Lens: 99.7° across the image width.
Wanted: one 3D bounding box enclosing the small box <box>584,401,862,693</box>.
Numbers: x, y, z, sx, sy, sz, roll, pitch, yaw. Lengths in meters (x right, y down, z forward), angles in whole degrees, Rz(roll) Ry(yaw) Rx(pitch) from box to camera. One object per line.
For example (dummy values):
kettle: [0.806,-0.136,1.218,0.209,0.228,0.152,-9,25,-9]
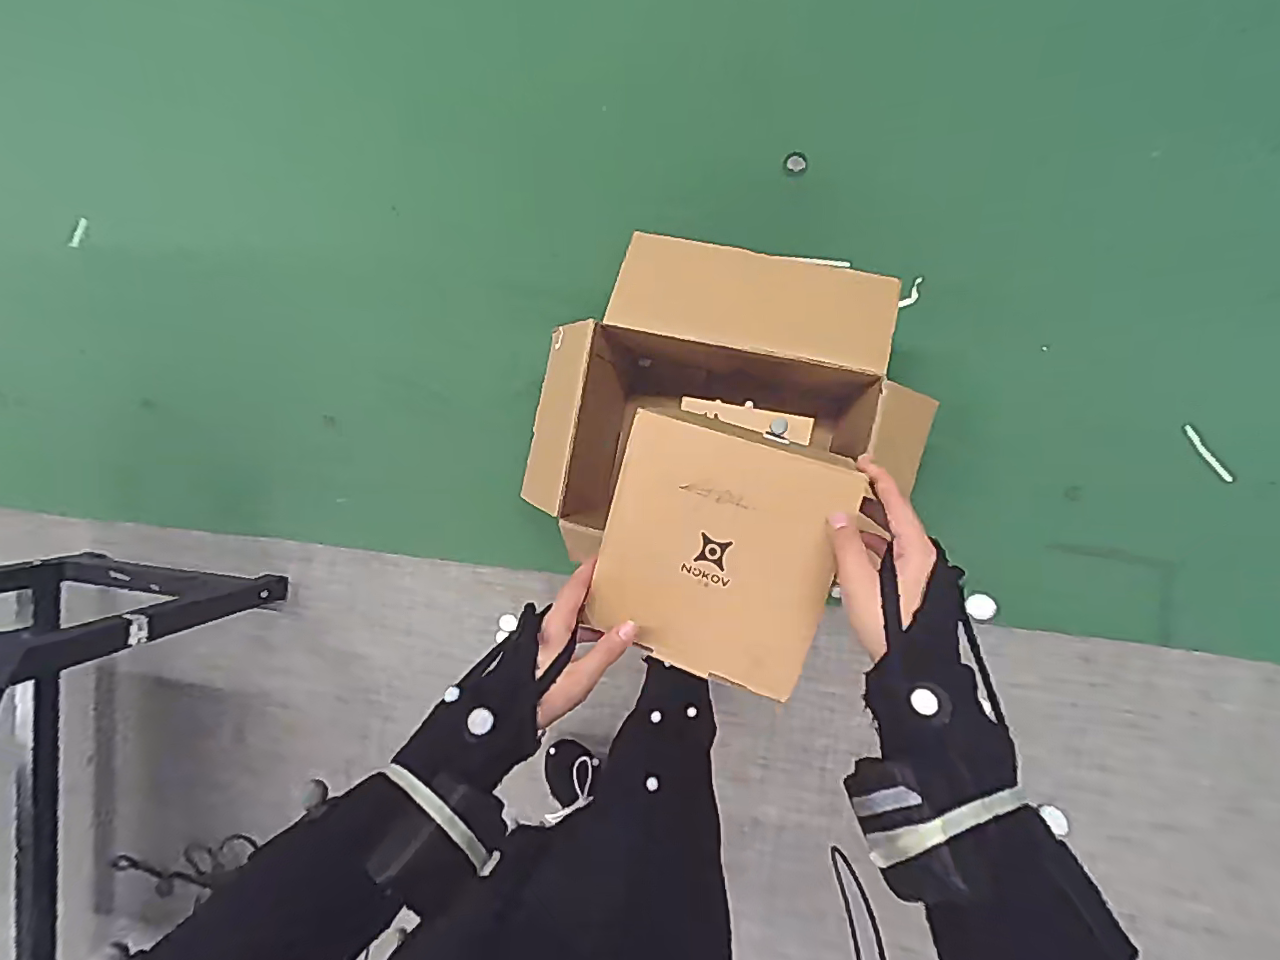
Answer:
small box: [0.073,0.039,0.464,0.168,0.176,0.179,17,100,13]
